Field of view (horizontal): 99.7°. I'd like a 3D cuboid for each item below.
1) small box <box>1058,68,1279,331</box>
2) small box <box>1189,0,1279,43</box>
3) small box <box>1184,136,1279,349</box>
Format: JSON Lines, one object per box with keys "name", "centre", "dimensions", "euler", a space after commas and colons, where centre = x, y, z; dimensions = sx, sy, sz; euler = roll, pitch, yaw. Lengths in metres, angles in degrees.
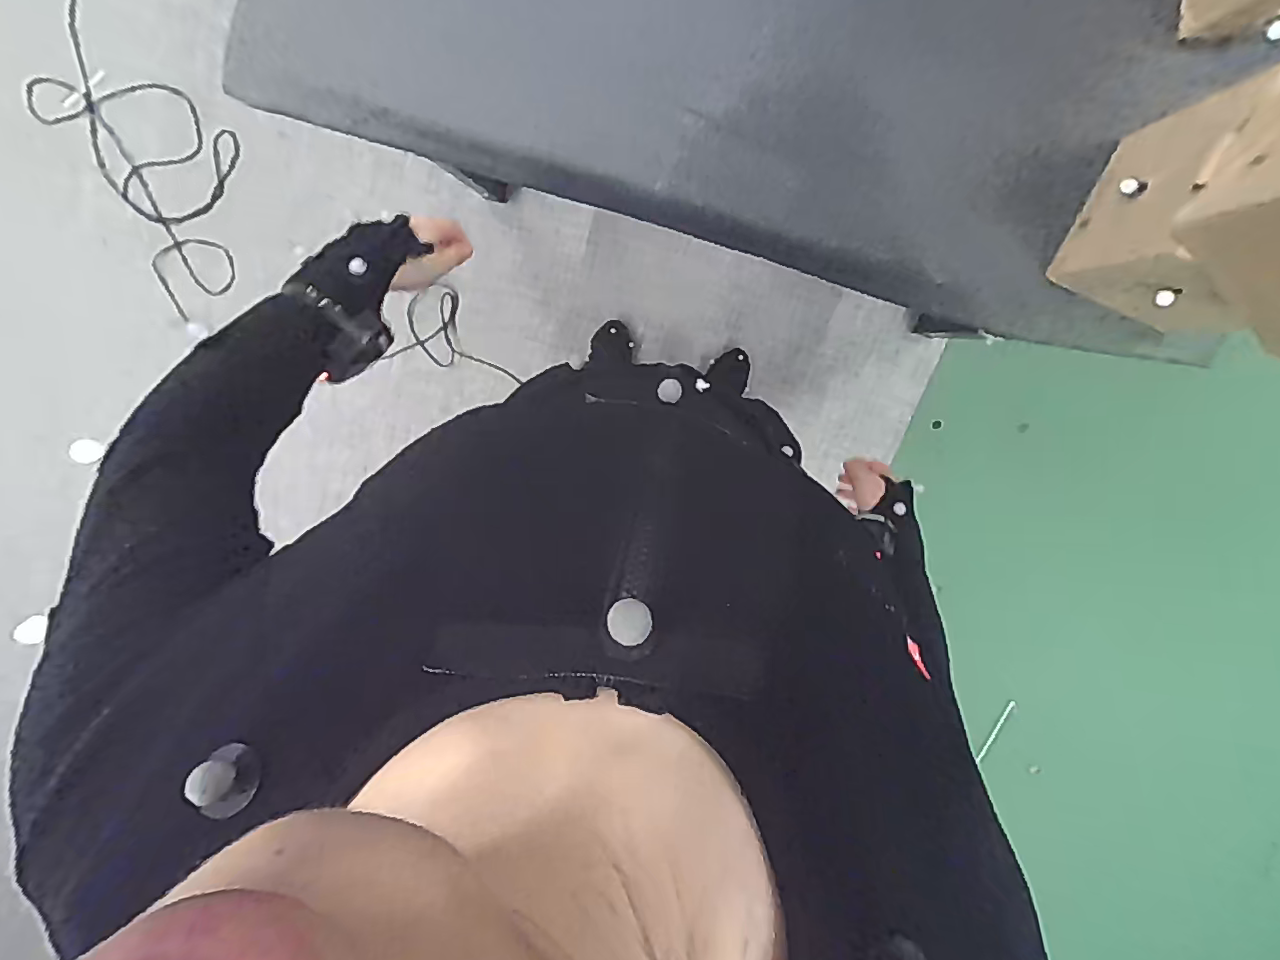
{"name": "small box", "centre": [0.593, -0.261, 0.554], "dimensions": [0.179, 0.176, 0.168], "euler": [23, 103, -2]}
{"name": "small box", "centre": [0.652, -0.535, 0.476], "dimensions": [0.168, 0.176, 0.179], "euler": [-3, 107, 7]}
{"name": "small box", "centre": [0.584, -0.207, 0.399], "dimensions": [0.179, 0.176, 0.168], "euler": [44, 101, -8]}
